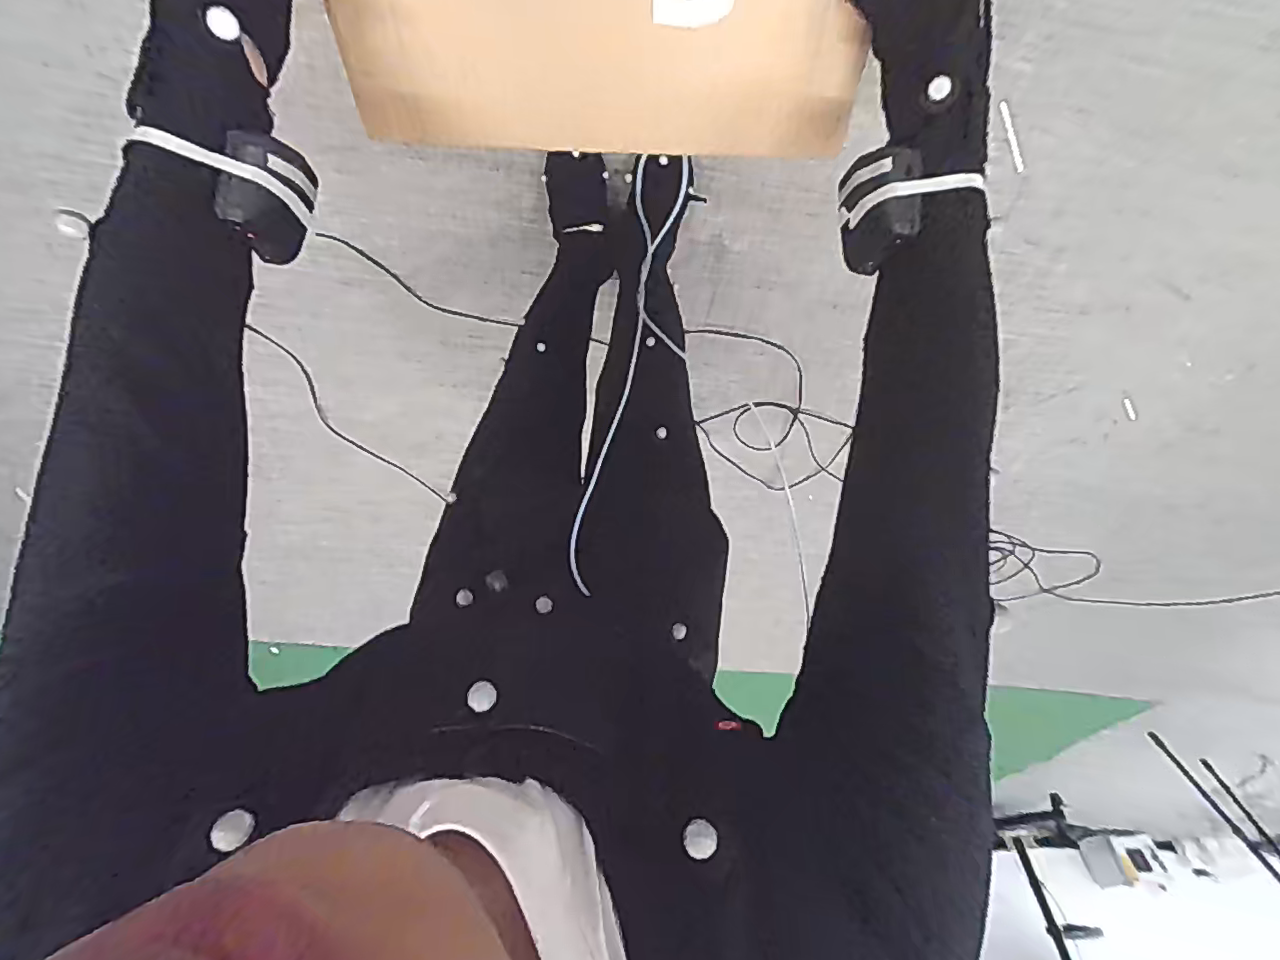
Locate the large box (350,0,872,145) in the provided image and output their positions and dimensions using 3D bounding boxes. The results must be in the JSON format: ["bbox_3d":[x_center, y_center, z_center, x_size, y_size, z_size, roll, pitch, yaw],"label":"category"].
[{"bbox_3d":[-0.021,-0.512,0.467,0.408,0.320,0.320,2,138,0],"label":"large box"}]
